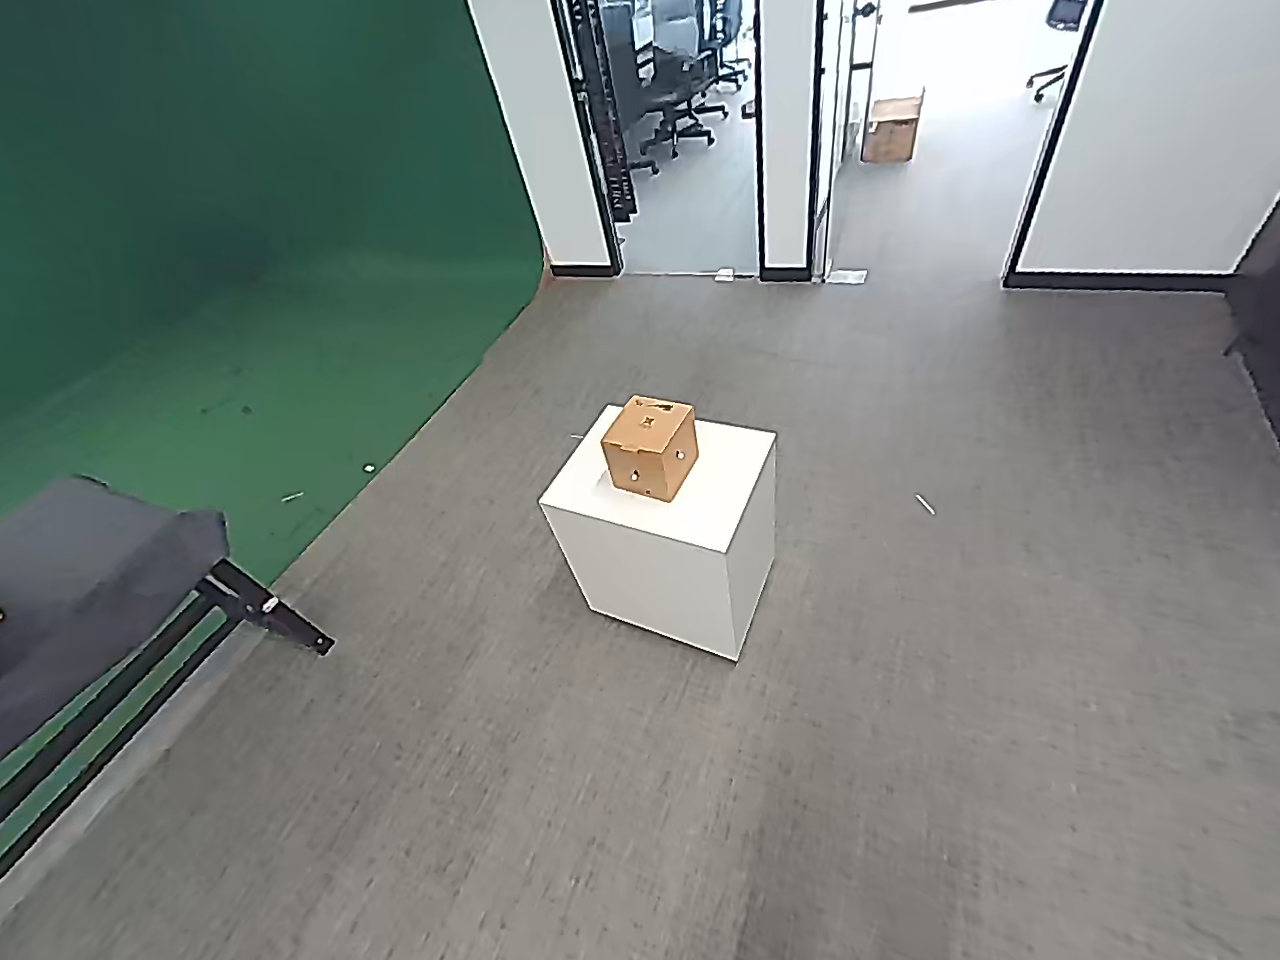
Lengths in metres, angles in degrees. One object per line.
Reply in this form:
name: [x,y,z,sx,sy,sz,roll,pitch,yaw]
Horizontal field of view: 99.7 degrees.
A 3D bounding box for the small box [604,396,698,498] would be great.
small box: [0.037,-0.079,1.336,0.168,0.176,0.179,13,51,24]
